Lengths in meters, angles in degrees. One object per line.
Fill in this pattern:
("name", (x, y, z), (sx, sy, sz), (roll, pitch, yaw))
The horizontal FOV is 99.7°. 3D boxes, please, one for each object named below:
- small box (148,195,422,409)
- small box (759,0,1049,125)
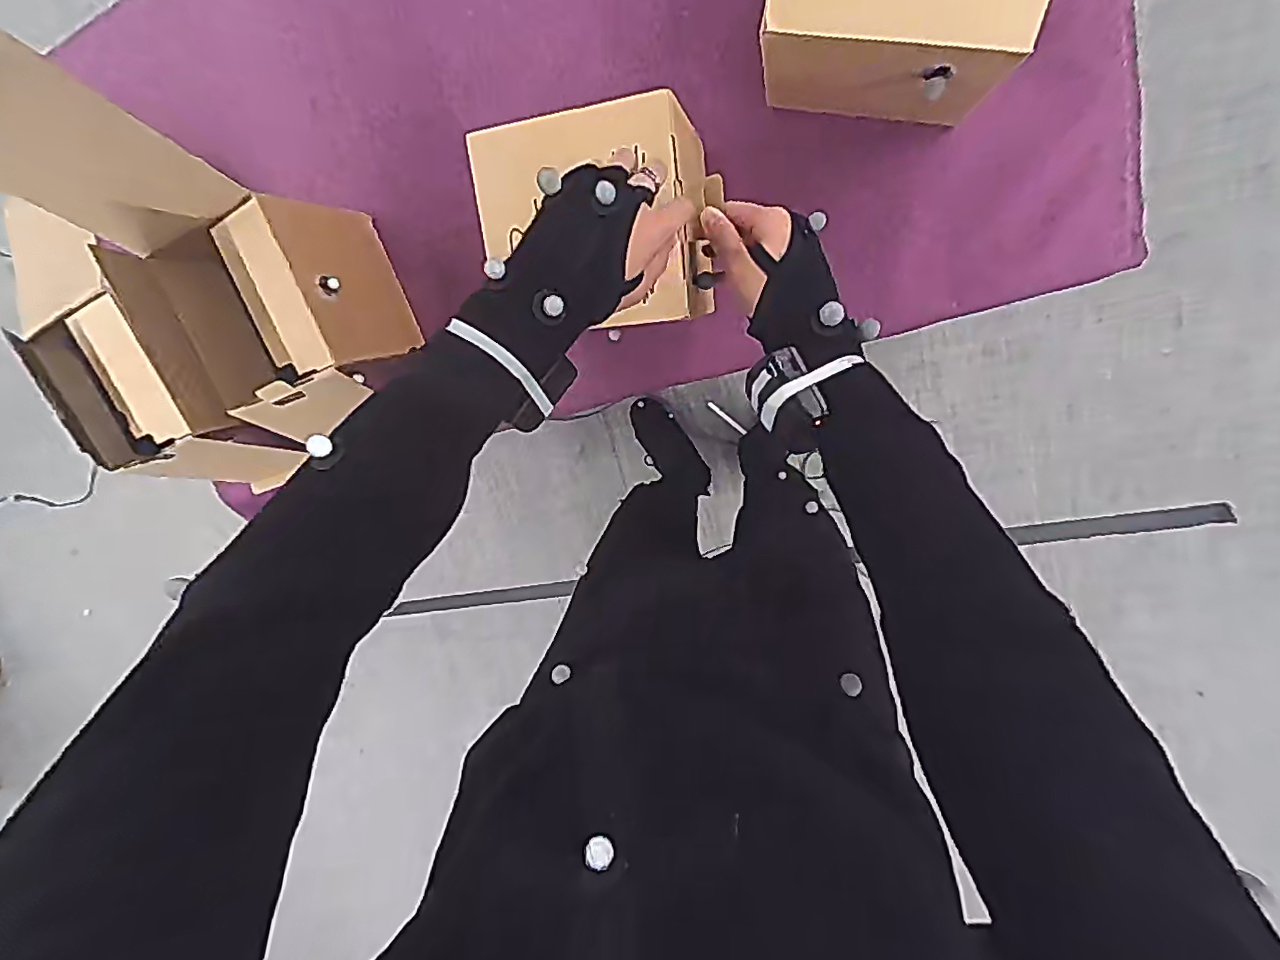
("small box", (-0.391, -0.201, 0.630), (0.168, 0.176, 0.179), (-14, 104, 18))
("small box", (0.198, -0.386, 0.403), (0.179, 0.176, 0.168), (14, 112, 10))
